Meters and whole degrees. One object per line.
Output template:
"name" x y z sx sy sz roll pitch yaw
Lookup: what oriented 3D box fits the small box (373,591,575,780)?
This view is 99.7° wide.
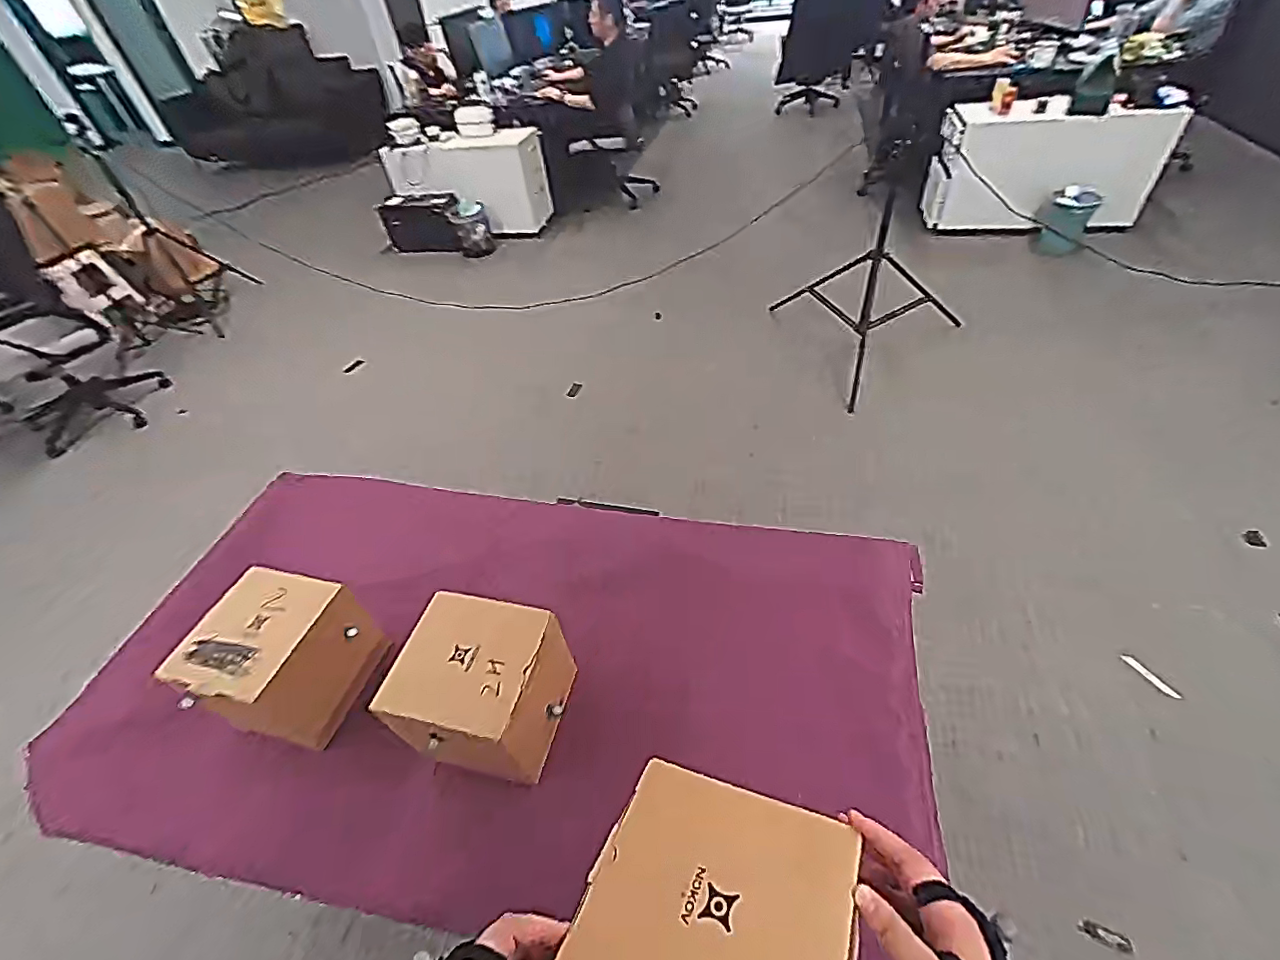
"small box" -0.204 0.274 0.719 0.179 0.176 0.168 7 47 14
